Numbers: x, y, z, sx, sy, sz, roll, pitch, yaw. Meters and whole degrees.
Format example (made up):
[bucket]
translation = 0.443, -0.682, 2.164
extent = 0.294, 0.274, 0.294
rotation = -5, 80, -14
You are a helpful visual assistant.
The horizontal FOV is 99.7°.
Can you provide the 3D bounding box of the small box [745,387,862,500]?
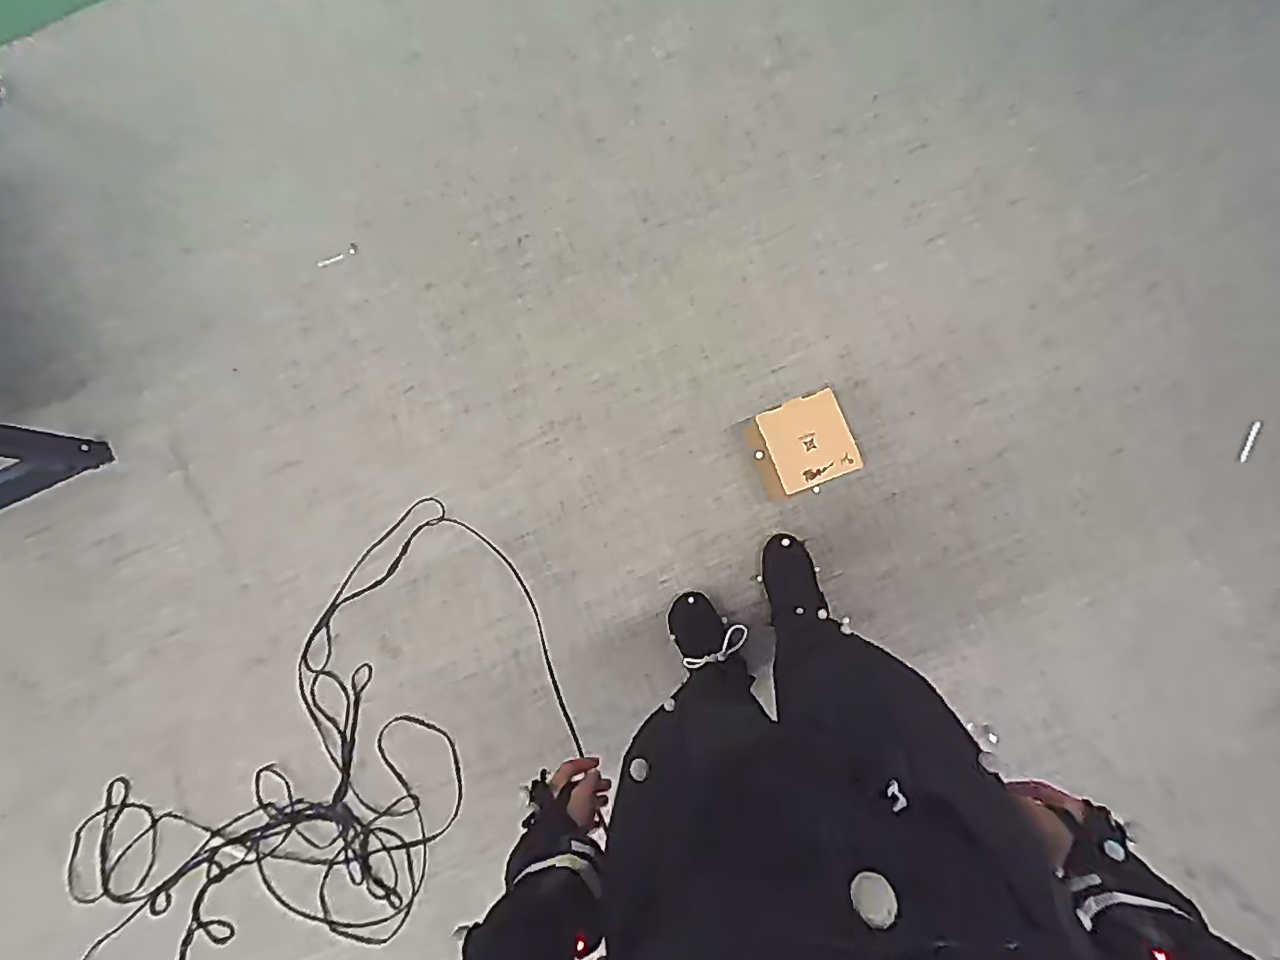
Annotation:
[small box]
translation = 0.337, -0.071, 1.154
extent = 0.168, 0.176, 0.179
rotation = -21, 82, 1
